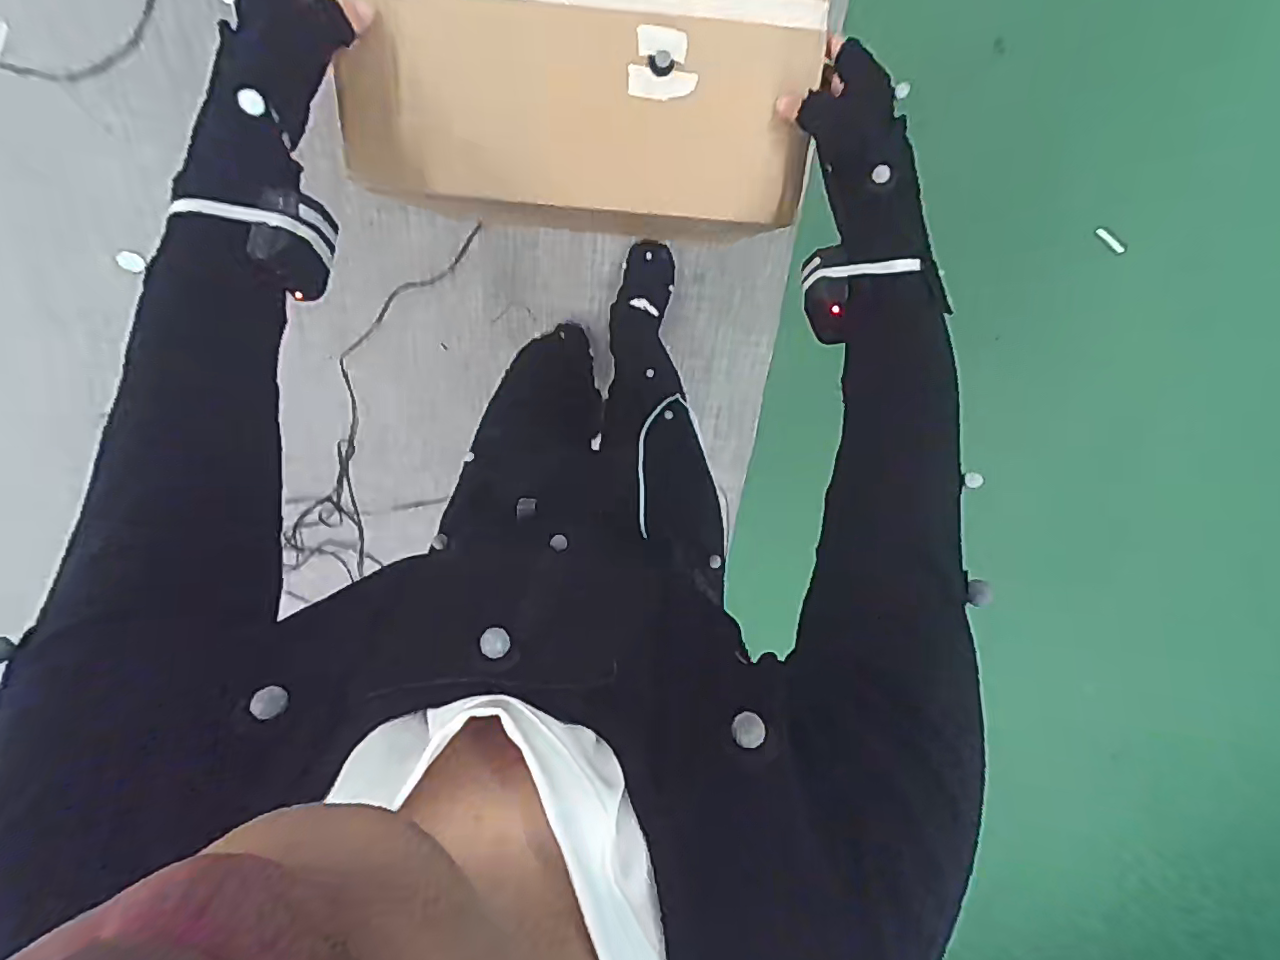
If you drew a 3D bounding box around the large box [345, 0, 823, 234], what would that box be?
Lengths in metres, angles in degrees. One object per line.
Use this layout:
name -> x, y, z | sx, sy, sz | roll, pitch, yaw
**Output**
large box -> -0.053, -0.457, 0.586 | 0.408, 0.320, 0.320 | 3, 112, -5
